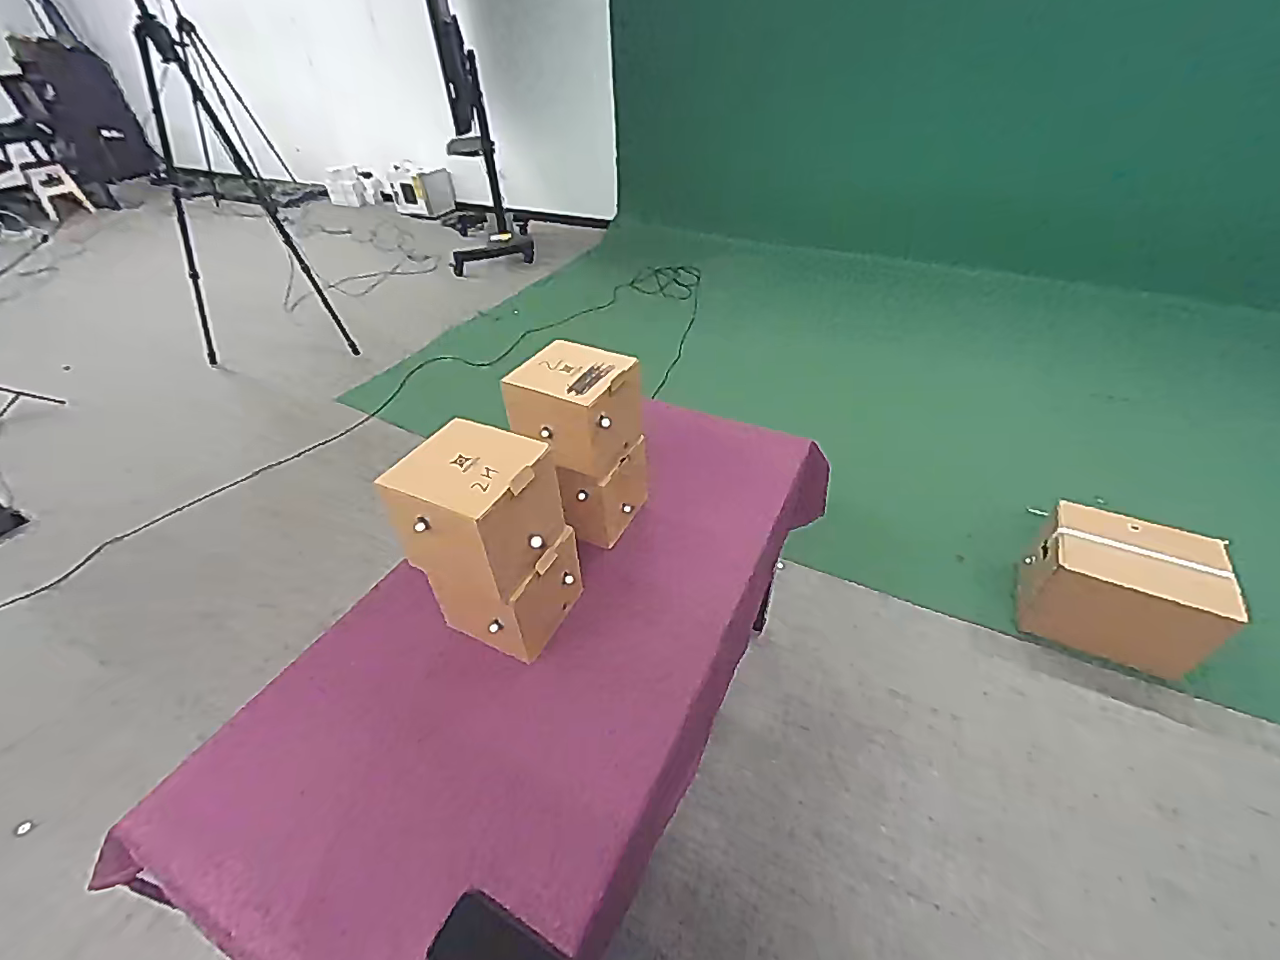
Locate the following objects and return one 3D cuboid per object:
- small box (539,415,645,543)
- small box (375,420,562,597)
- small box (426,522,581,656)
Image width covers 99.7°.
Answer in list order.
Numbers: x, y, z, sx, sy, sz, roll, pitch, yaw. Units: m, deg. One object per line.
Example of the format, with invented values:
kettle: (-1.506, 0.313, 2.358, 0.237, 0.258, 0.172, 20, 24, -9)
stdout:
small box: (-0.103, -0.002, 1.070, 0.179, 0.176, 0.168, 17, 45, 20)
small box: (-0.233, 0.041, 0.780, 0.179, 0.176, 0.168, 16, 45, 20)
small box: (-0.213, 0.161, 0.892, 0.179, 0.176, 0.168, 16, 44, 21)
